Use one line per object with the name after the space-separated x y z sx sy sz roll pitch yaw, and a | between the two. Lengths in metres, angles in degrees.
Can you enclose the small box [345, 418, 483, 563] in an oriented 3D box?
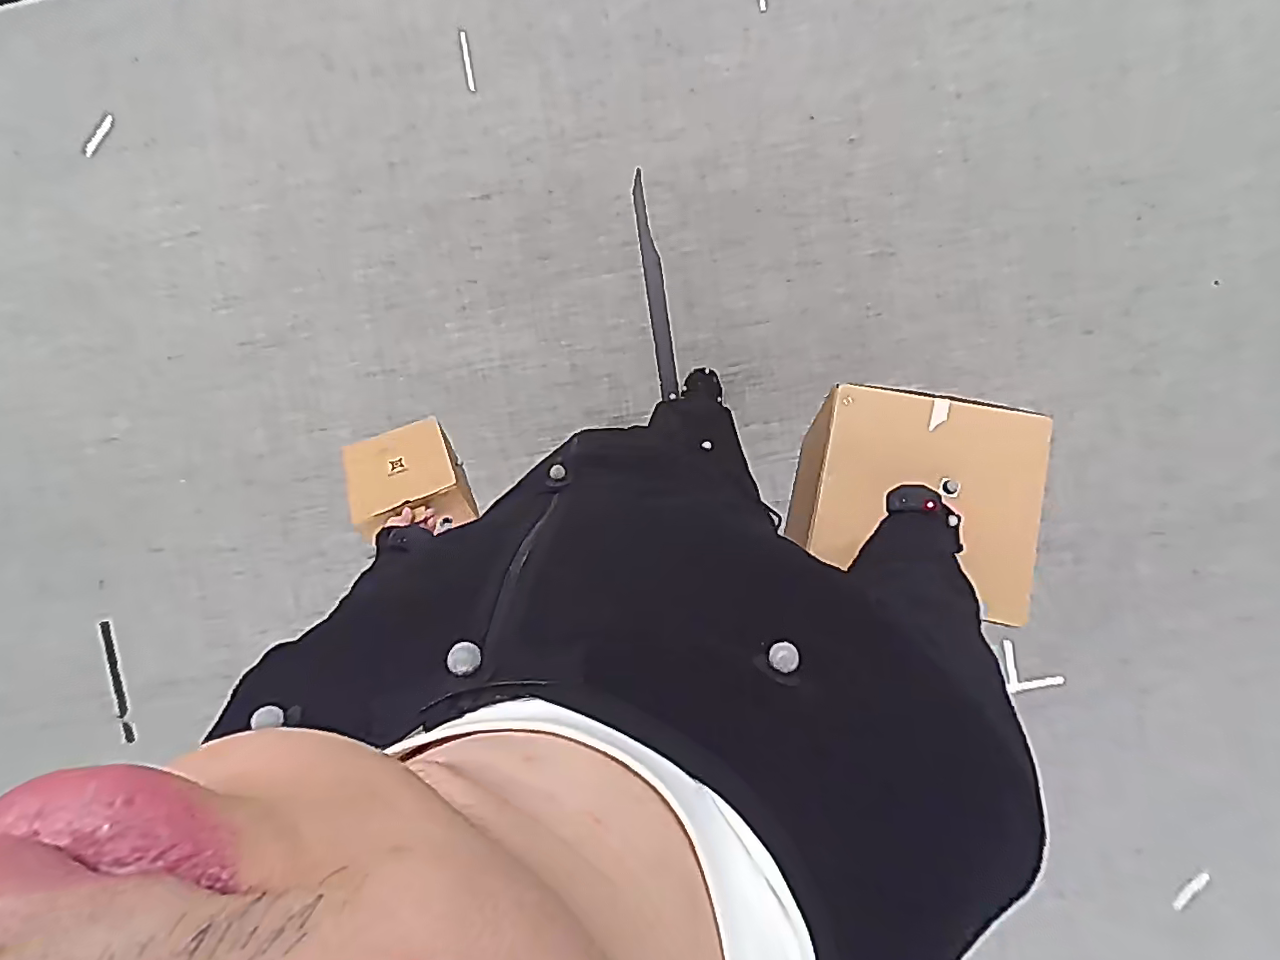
-0.396 0.027 0.965 0.168 0.176 0.179 -22 54 -13 | small box
